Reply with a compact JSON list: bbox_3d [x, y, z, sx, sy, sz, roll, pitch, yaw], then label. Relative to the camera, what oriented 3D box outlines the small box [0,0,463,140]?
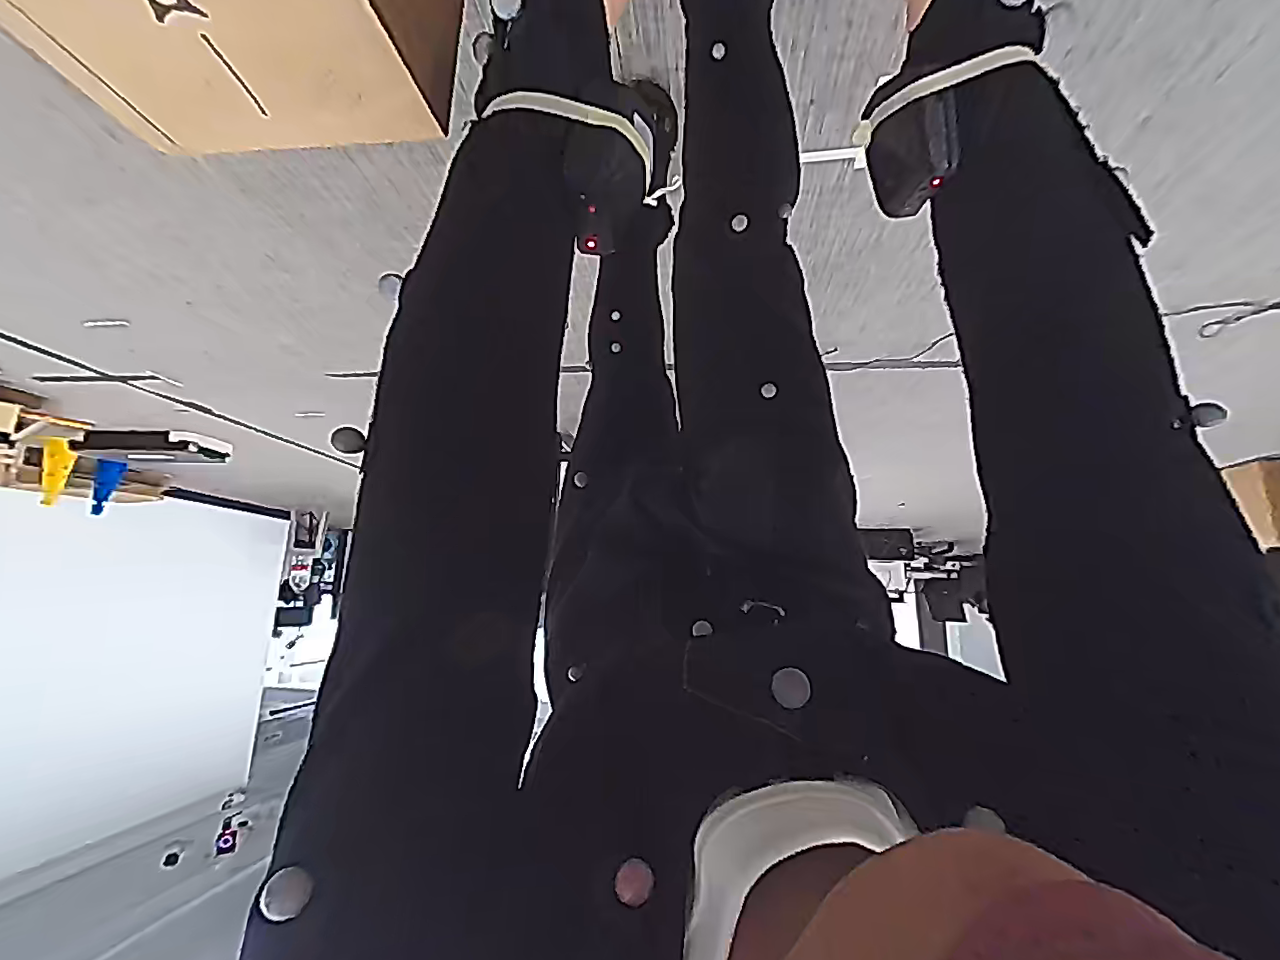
[{"bbox_3d":[-0.182,-0.282,0.220,0.168,0.176,0.179,1,168,5],"label":"small box"}]
